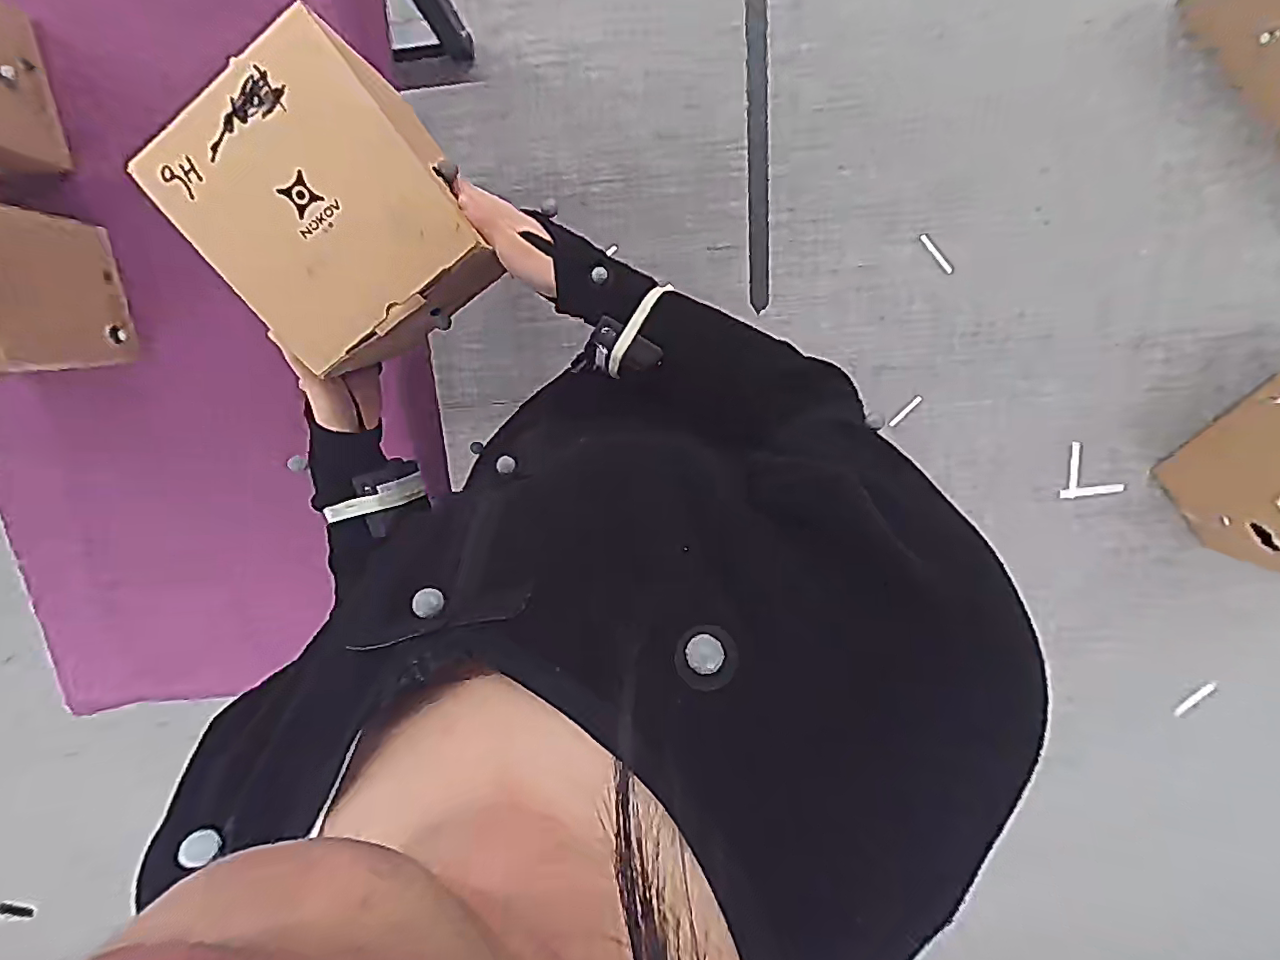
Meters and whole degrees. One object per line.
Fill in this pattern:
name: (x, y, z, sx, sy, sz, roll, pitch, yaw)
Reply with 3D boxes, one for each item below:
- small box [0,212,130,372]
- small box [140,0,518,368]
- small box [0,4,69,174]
small box: (-0.748, -0.210, 0.621, 0.179, 0.176, 0.168, -4, 104, 1)
small box: (-0.222, -0.220, 0.447, 0.168, 0.176, 0.179, -34, 108, 7)
small box: (-0.786, -0.433, 0.567, 0.179, 0.176, 0.168, -4, 105, 0)
